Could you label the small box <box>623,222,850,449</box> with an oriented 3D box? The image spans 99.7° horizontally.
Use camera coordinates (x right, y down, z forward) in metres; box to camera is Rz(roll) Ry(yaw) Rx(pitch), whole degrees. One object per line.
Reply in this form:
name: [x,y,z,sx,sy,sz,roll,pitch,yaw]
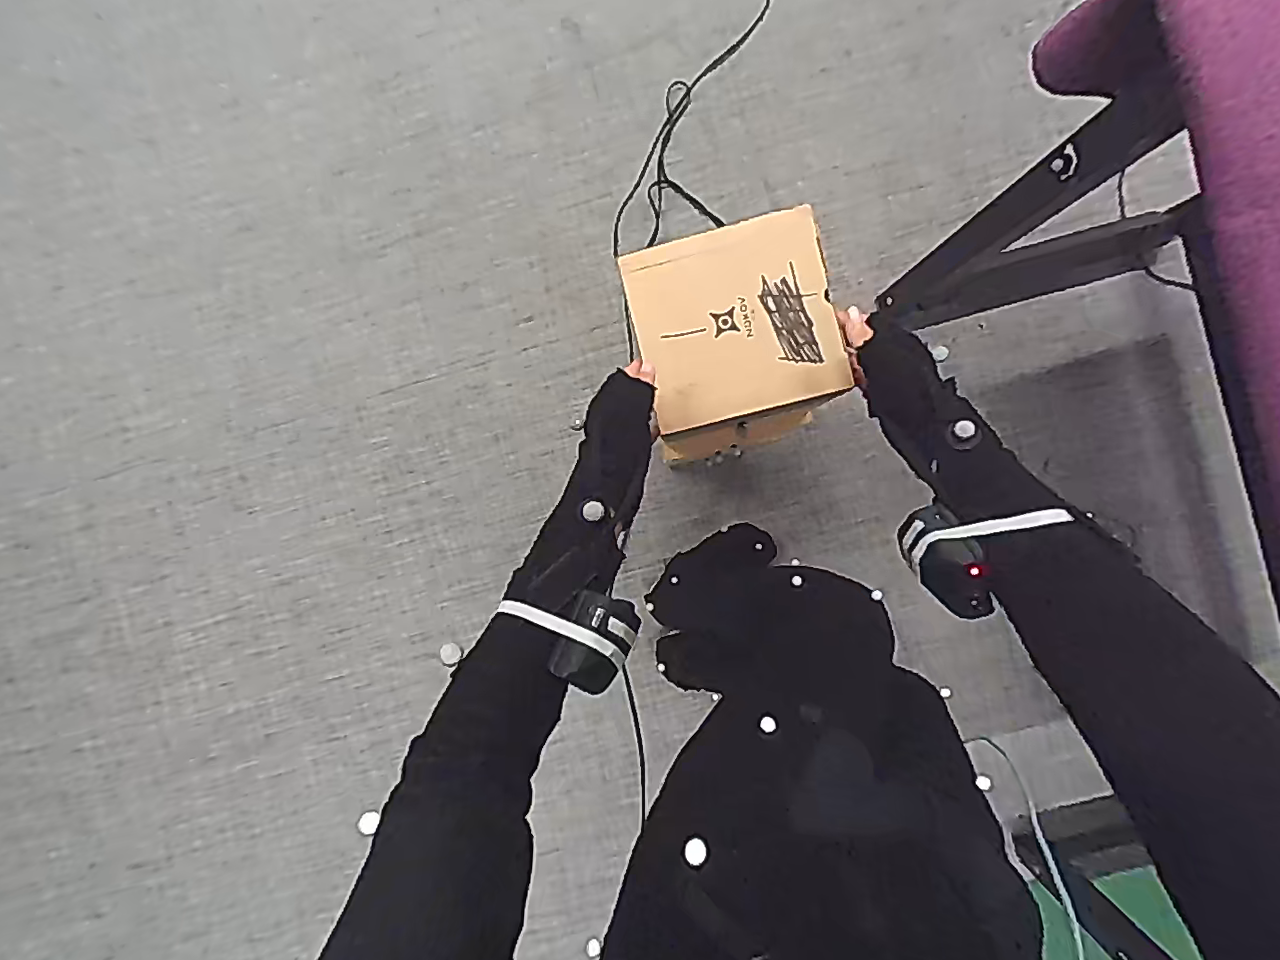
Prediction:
small box: [0.089,-0.131,0.557,0.179,0.176,0.168,-13,89,4]
